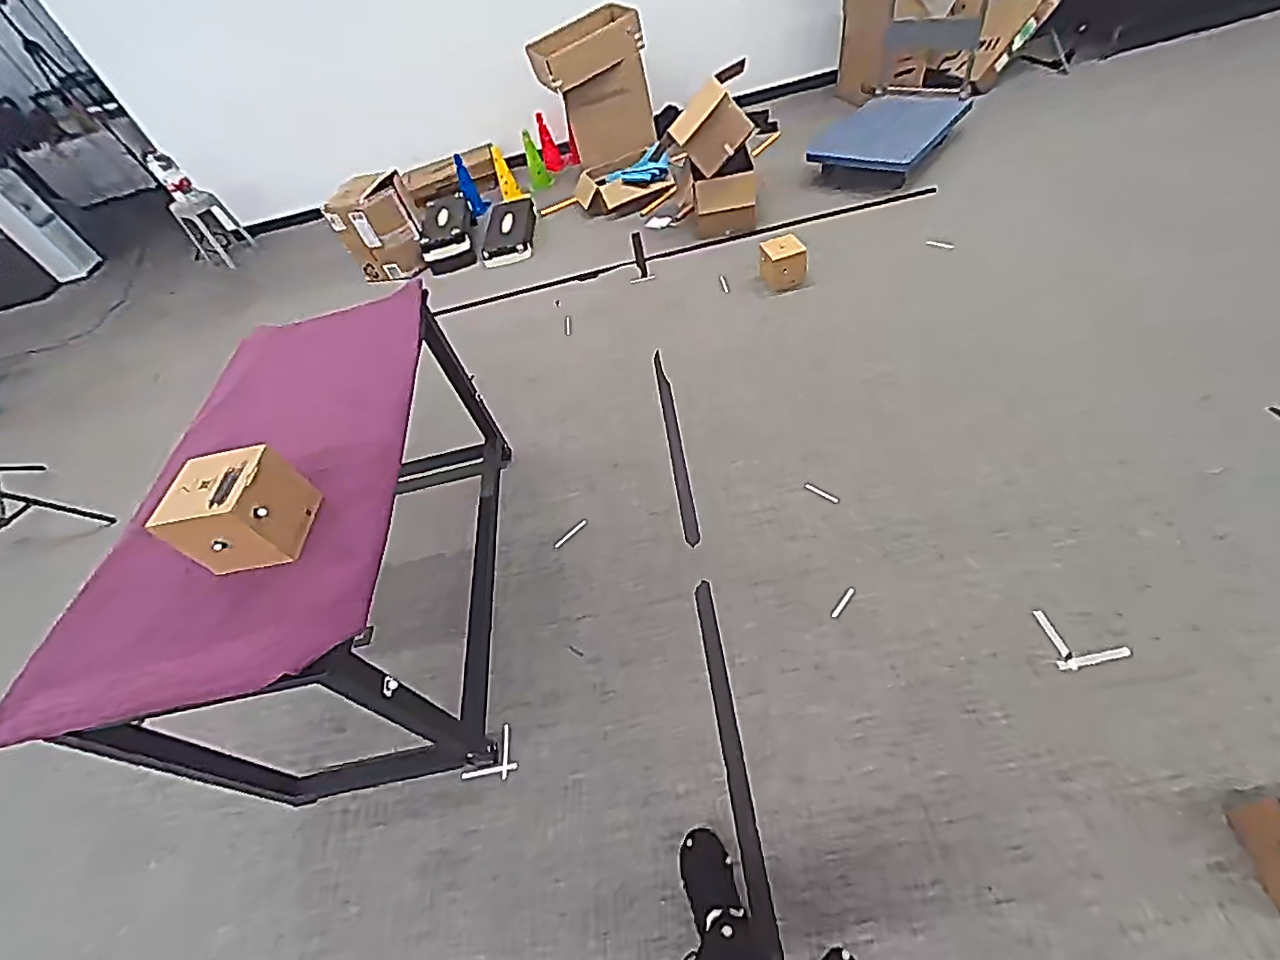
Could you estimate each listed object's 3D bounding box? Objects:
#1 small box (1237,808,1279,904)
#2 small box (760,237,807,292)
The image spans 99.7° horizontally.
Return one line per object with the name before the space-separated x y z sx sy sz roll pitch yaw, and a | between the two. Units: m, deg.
small box | 1.260 0.694 0.970 0.168 0.176 0.179 -5 50 11
small box | 0.678 -1.009 2.552 0.168 0.176 0.179 -17 48 0
